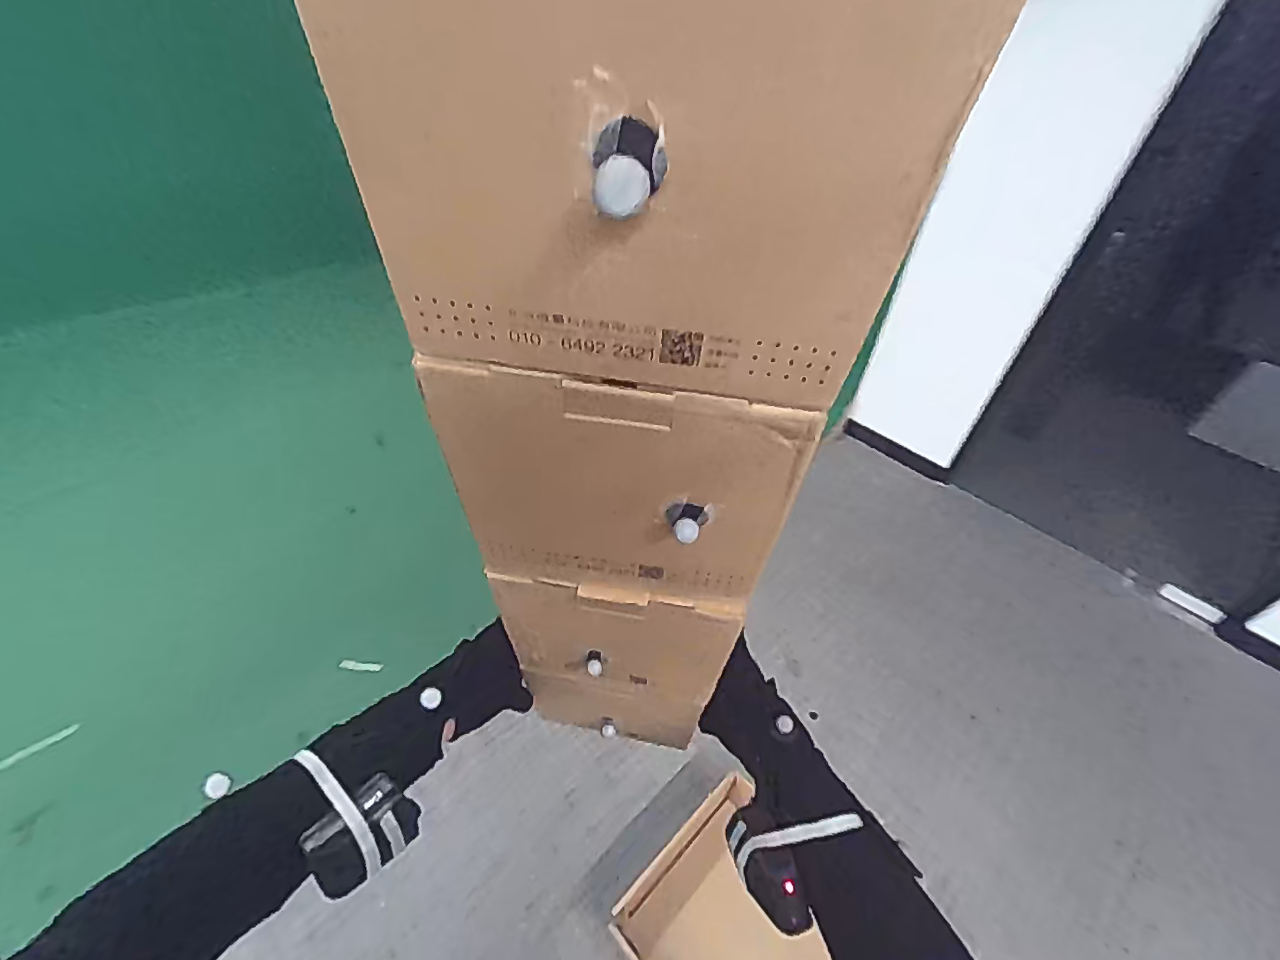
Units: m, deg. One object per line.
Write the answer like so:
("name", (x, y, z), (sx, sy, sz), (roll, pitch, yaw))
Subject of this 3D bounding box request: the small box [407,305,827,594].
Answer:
("small box", (-0.003, -0.051, 0.316), (0.168, 0.176, 0.179), (8, 52, 2))

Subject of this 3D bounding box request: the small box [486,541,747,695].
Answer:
("small box", (-0.008, 0.053, 0.443), (0.168, 0.176, 0.179), (9, 53, 3))

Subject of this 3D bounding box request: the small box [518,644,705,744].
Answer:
("small box", (-0.015, 0.154, 0.570), (0.168, 0.176, 0.179), (10, 53, 5))

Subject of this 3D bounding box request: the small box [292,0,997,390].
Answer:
("small box", (0.007, -0.154, 0.189), (0.168, 0.176, 0.179), (8, 54, 1))
